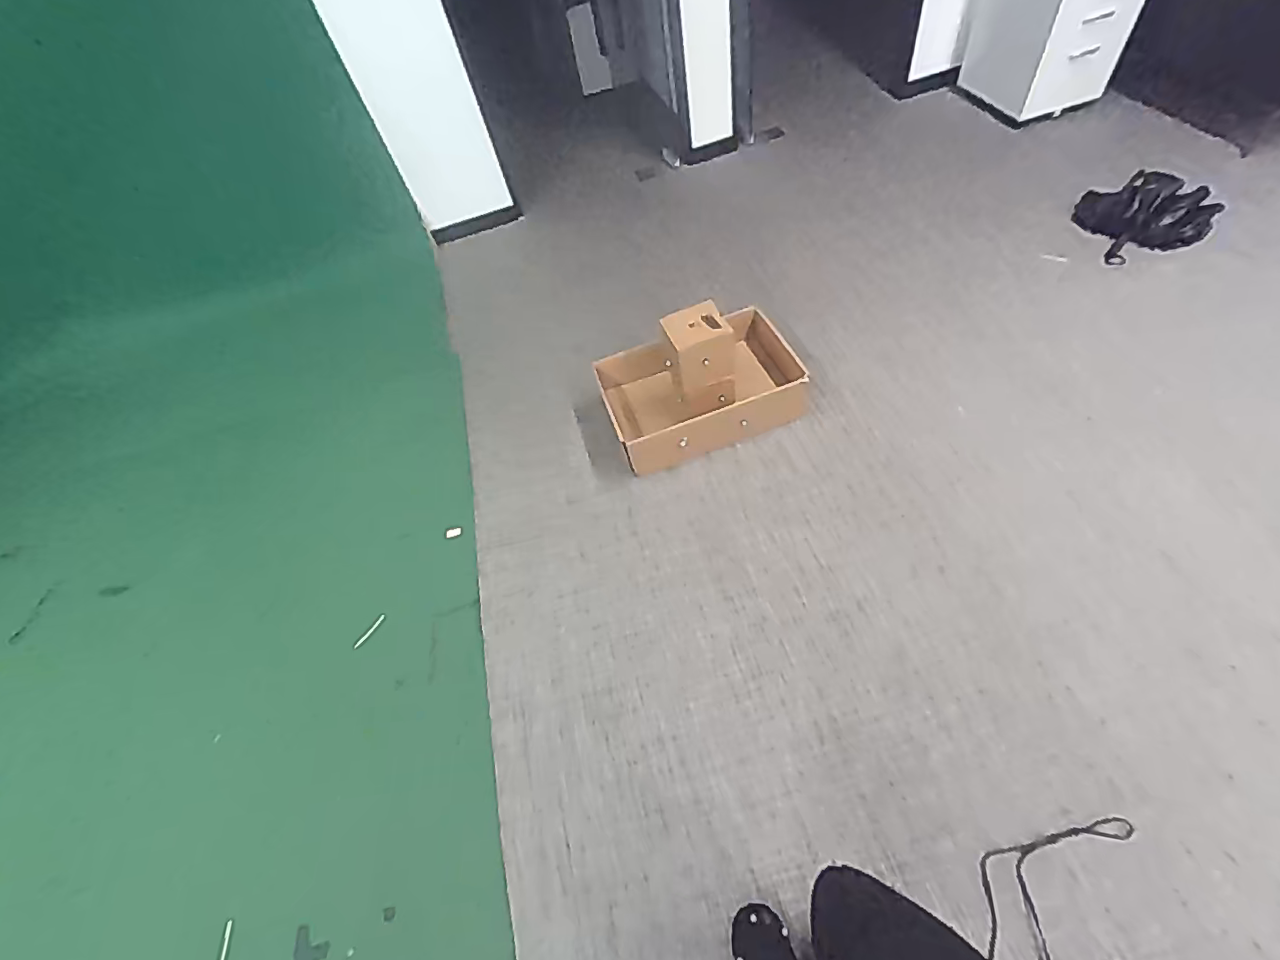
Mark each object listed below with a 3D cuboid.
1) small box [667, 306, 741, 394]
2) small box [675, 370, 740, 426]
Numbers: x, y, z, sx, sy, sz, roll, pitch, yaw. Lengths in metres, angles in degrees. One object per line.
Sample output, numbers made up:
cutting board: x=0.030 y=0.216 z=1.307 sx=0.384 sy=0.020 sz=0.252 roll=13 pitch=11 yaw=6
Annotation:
small box: x=0.197 y=-0.393 z=1.655 sx=0.179 sy=0.176 sz=0.168 roll=-20 pitch=53 yaw=-2
small box: x=0.224 y=-0.298 z=1.785 sx=0.168 sy=0.176 sz=0.179 roll=-18 pitch=52 yaw=-2
